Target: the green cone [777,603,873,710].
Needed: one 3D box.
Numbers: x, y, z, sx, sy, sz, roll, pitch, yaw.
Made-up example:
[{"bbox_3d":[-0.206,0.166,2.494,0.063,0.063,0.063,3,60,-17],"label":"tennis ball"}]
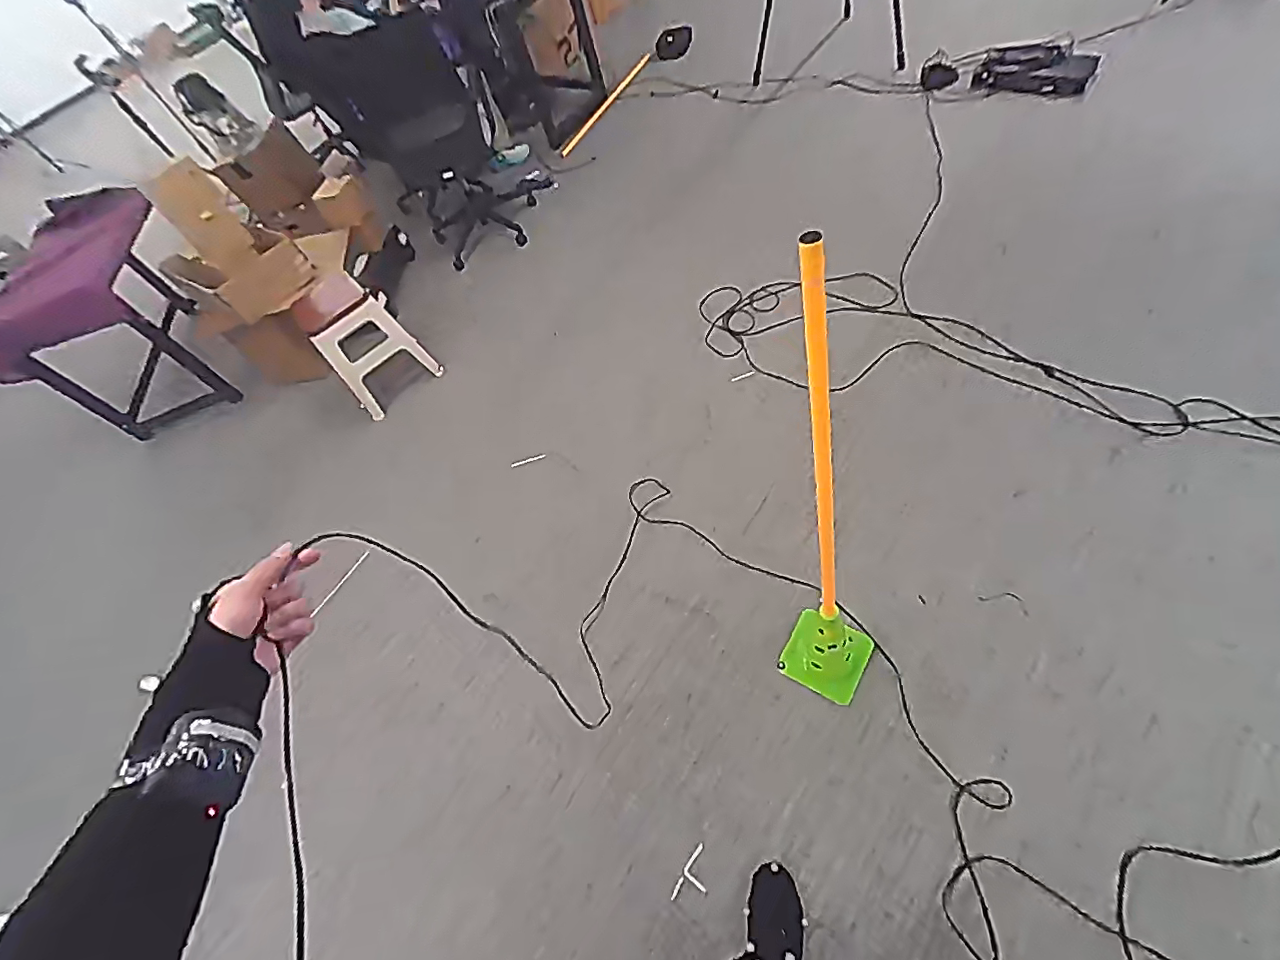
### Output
[{"bbox_3d":[0.452,0.386,1.303,0.200,0.368,0.202,22,65,28],"label":"green cone"}]
